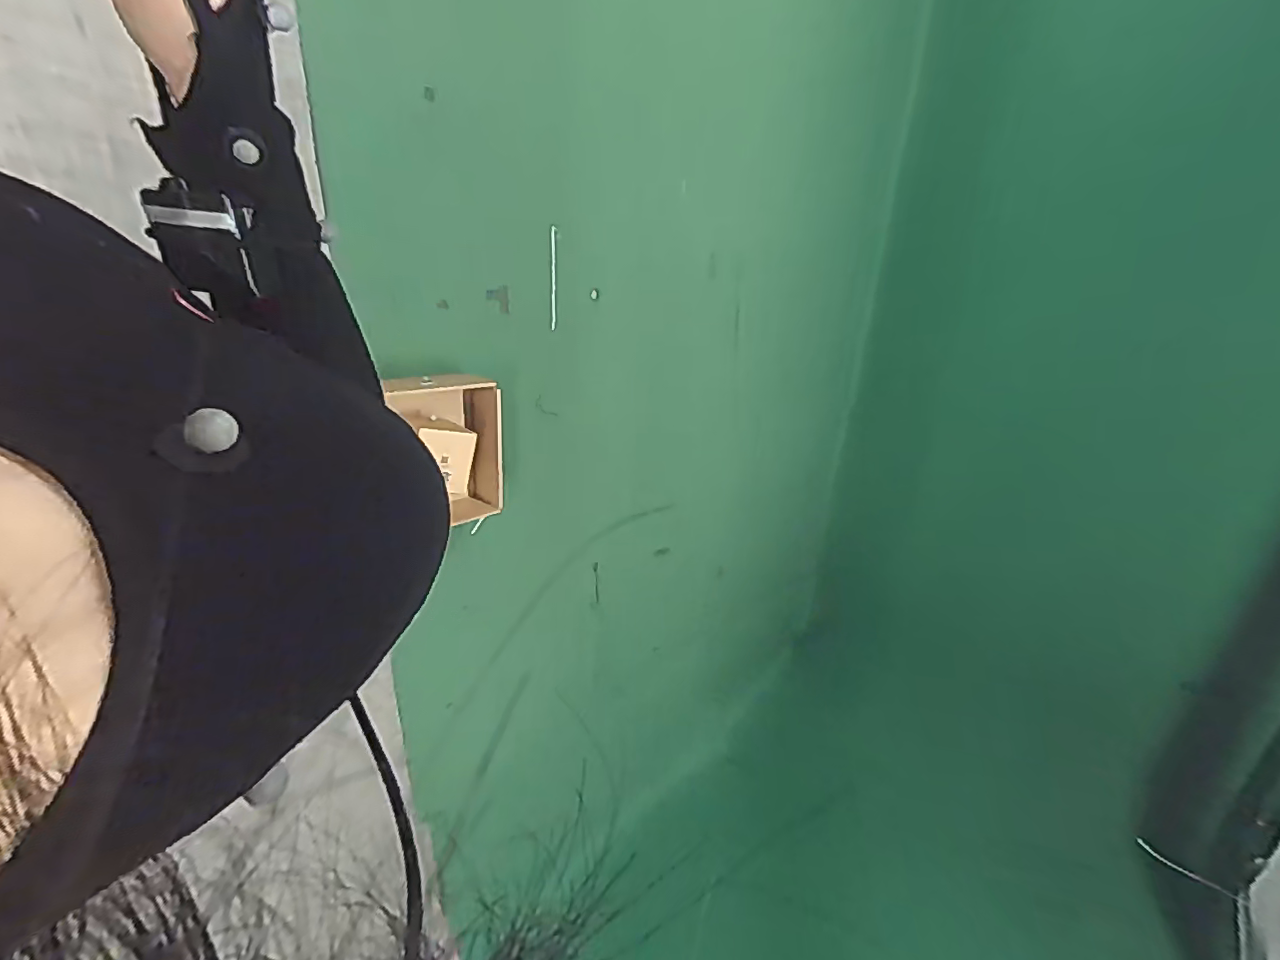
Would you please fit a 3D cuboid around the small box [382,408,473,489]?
[{"bbox_3d":[-0.584,-0.085,1.474,0.168,0.176,0.179,3,106,-48],"label":"small box"}]
